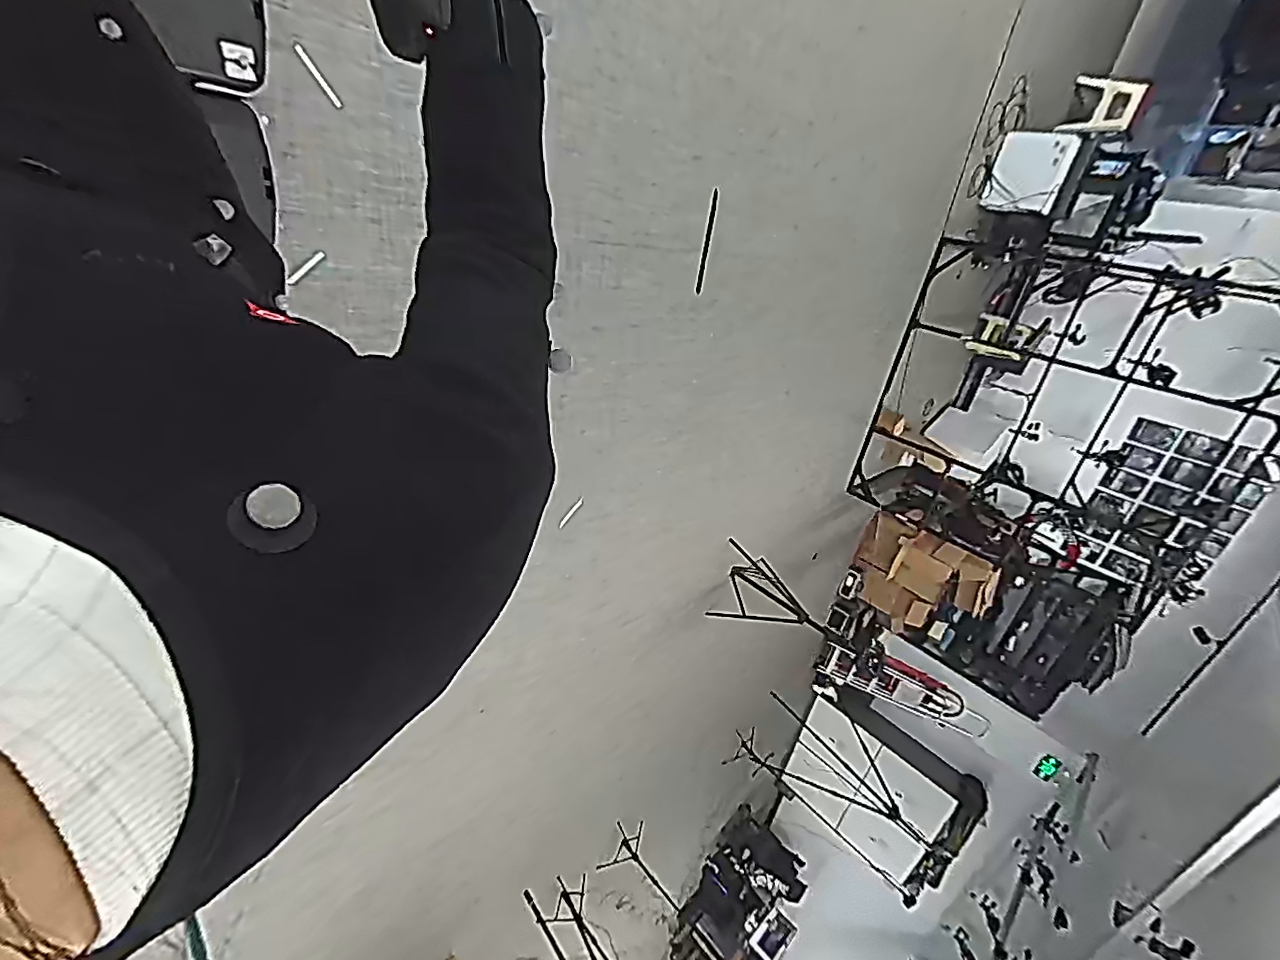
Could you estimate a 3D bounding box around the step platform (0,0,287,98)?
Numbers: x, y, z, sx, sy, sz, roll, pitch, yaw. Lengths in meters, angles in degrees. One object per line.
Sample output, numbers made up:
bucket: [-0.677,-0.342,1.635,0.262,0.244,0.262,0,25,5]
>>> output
step platform: [-0.924,-0.805,0.790,0.684,0.204,0.286,-18,128,-42]
